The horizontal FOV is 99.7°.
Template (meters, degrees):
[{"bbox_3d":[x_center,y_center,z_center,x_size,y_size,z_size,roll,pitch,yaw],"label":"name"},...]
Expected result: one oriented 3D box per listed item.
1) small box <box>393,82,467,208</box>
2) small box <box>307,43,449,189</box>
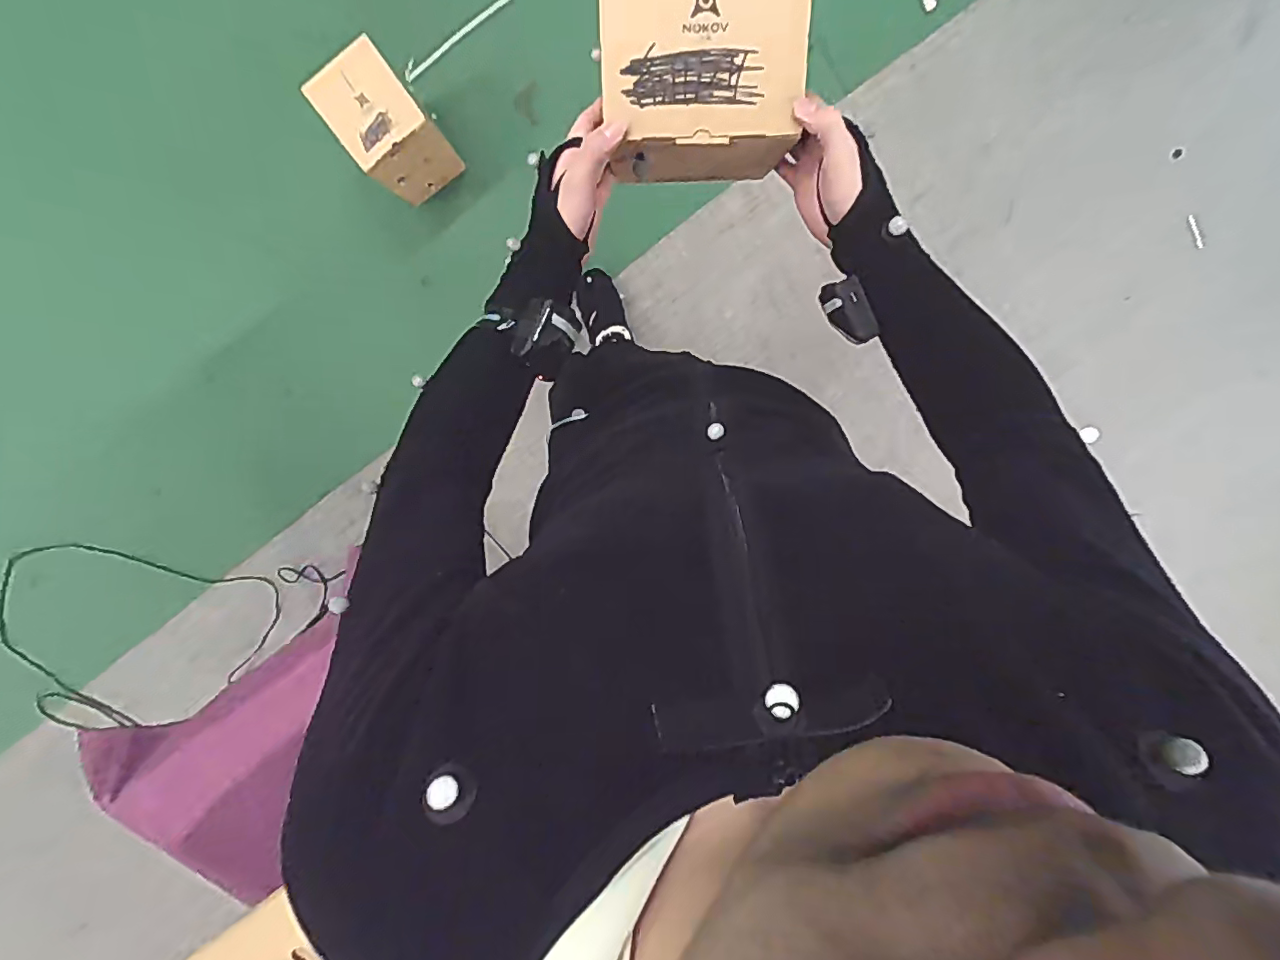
[{"bbox_3d":[-0.543,-0.783,1.284,0.168,0.176,0.179,-36,106,6],"label":"small box"},{"bbox_3d":[-0.531,-0.738,1.128,0.168,0.176,0.179,-35,105,6],"label":"small box"}]
